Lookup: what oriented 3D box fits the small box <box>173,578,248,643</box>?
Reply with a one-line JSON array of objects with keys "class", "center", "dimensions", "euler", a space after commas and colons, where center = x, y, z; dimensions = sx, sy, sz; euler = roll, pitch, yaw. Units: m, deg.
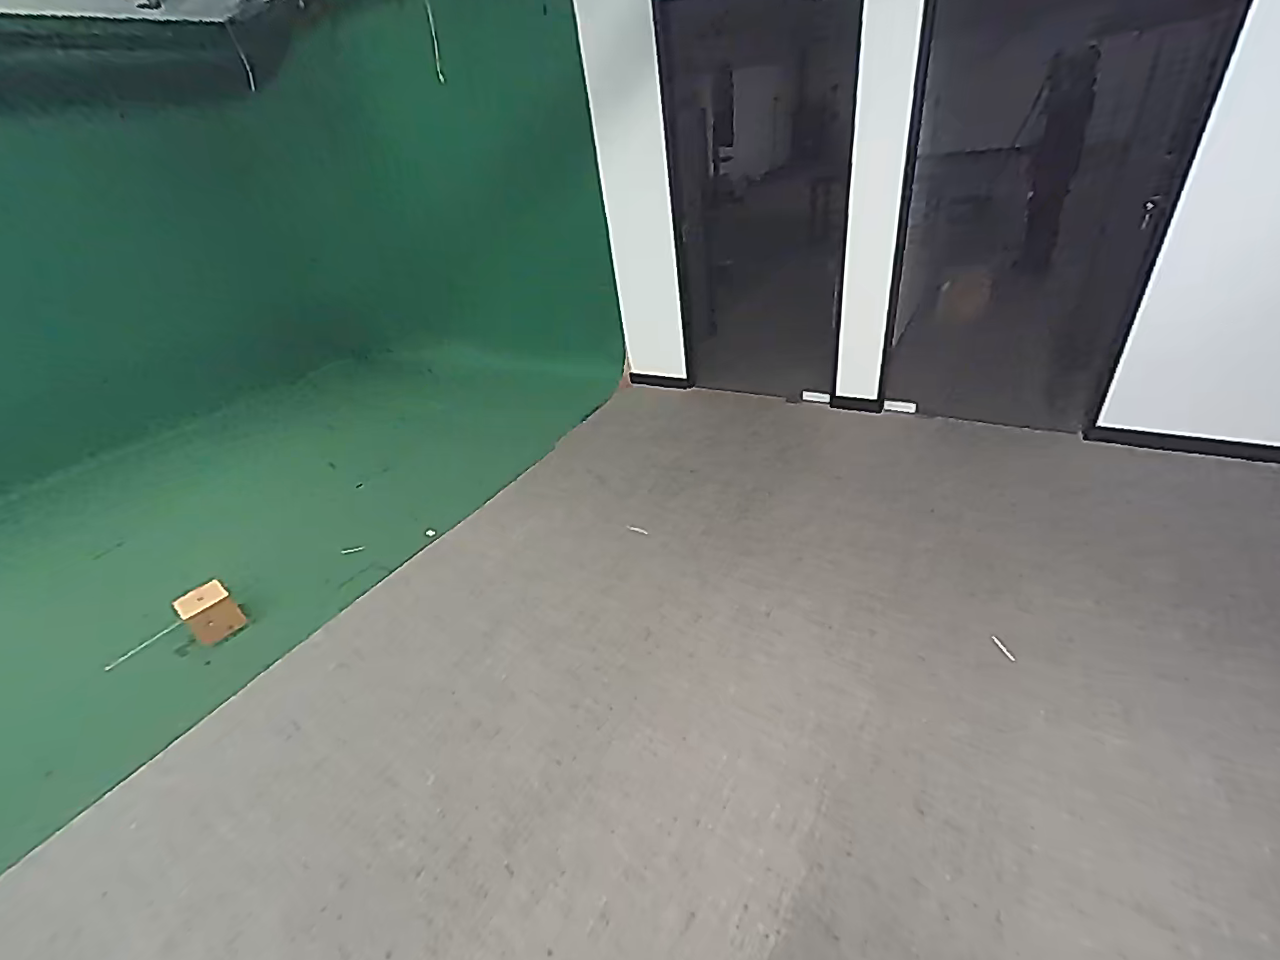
[{"class": "small box", "center": [-1.772, 0.545, 2.237], "dimensions": [0.179, 0.176, 0.168], "euler": [19, 42, 36]}]
